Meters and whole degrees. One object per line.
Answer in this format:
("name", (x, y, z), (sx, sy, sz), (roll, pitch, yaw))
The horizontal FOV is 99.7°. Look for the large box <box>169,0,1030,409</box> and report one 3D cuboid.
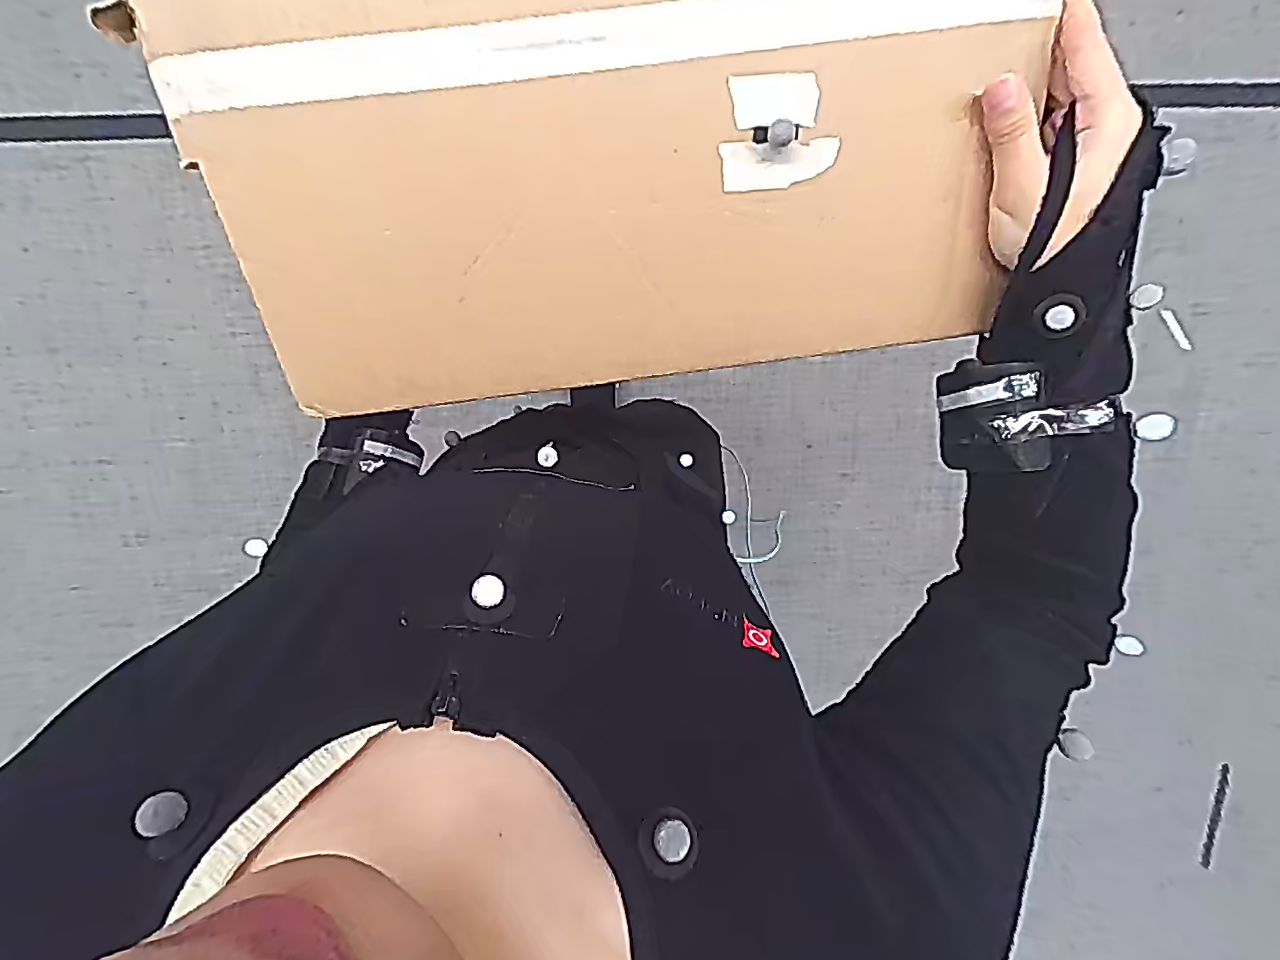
("large box", (-0.022, -0.268, 0.390), (0.408, 0.320, 0.320), (-9, 116, -3))
